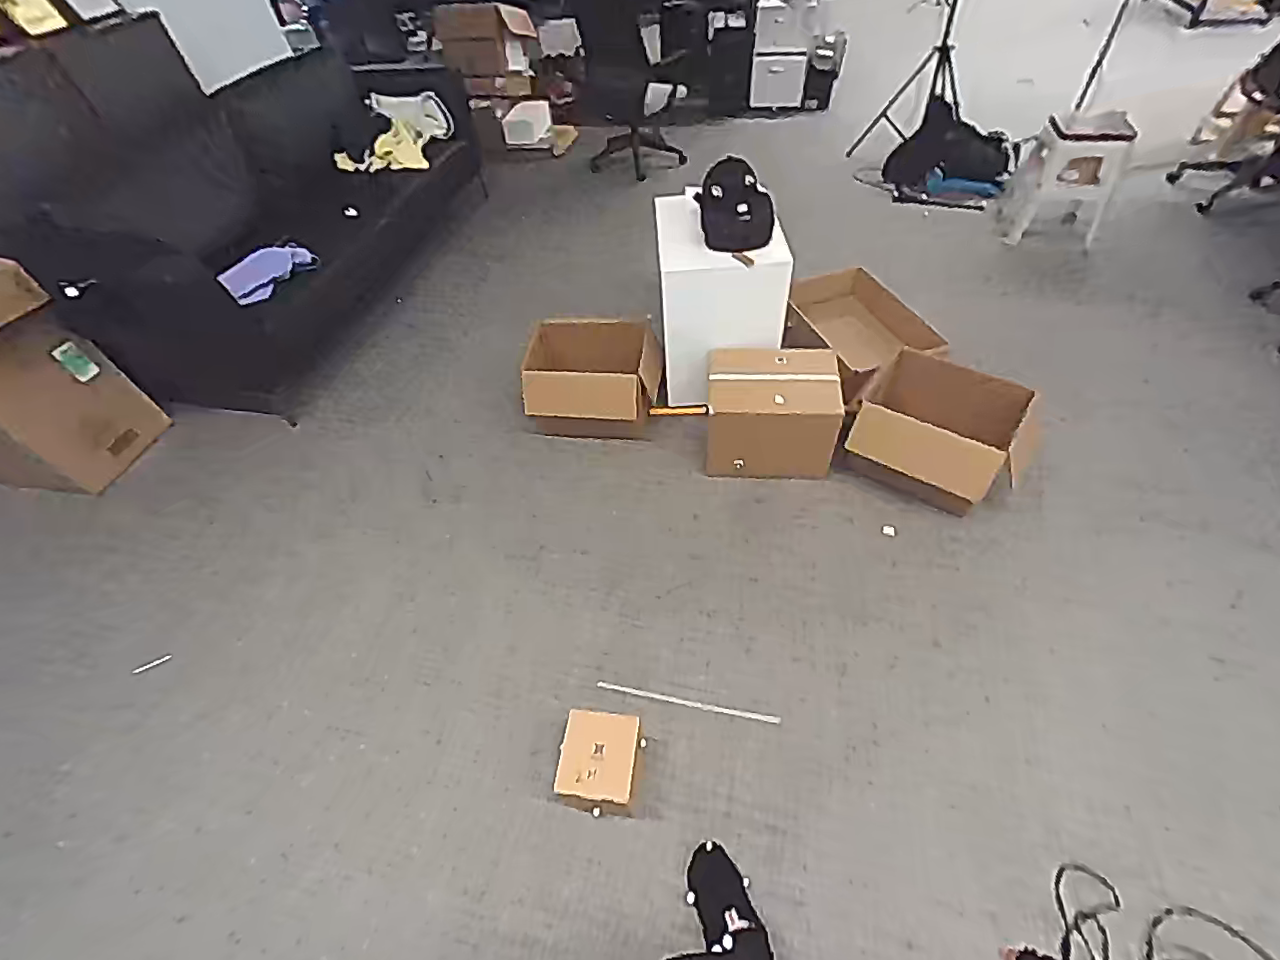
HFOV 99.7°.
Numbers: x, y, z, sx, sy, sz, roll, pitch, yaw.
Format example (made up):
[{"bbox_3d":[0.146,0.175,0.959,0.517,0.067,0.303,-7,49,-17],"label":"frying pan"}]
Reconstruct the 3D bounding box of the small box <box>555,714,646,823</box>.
[{"bbox_3d":[-0.081,0.664,1.243,0.168,0.176,0.179,4,50,10],"label":"small box"}]
